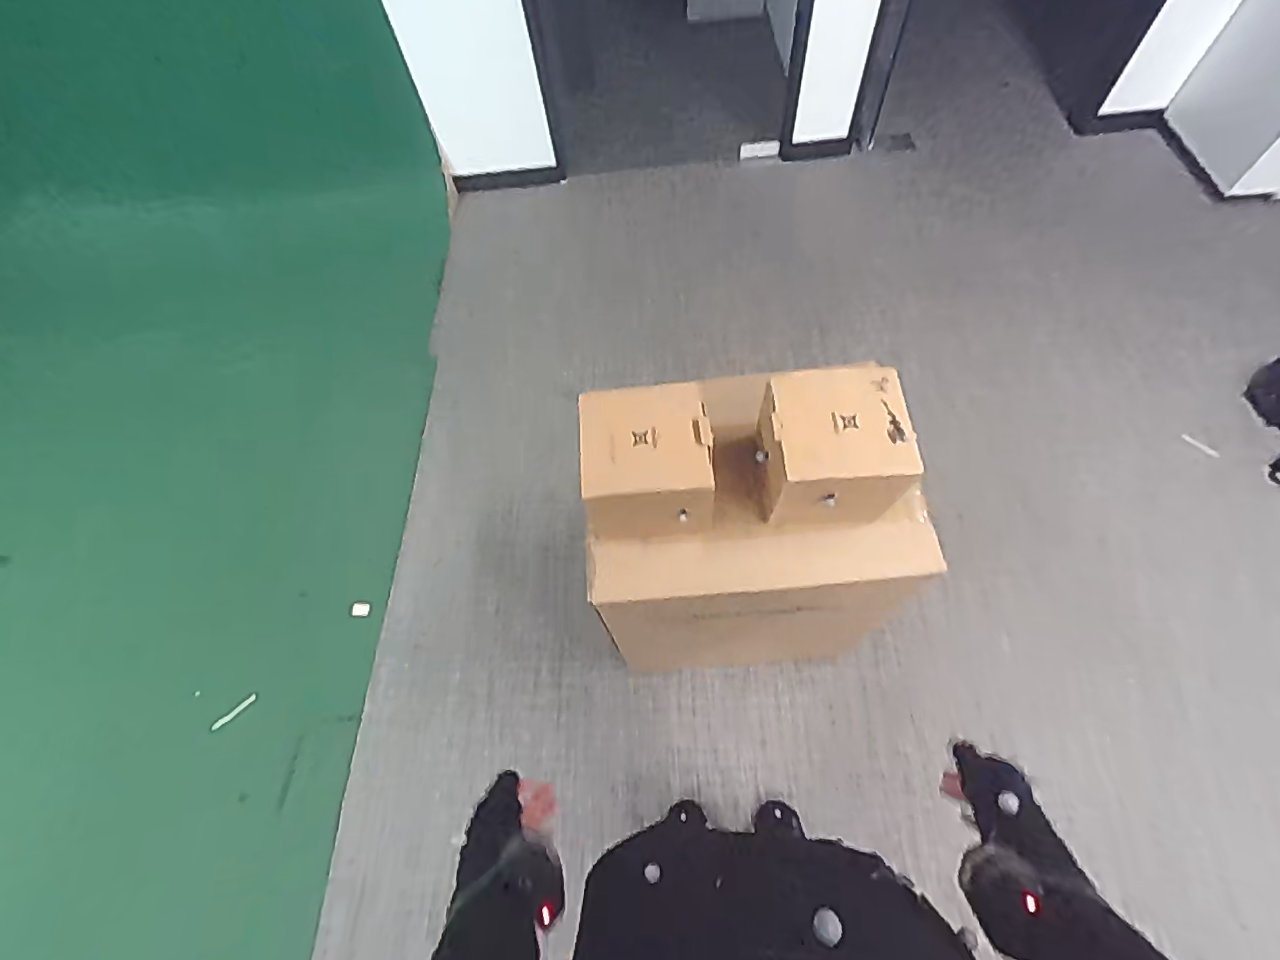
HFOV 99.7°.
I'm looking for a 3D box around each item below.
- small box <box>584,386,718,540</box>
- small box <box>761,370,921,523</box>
[{"bbox_3d":[0.016,-0.019,0.810,0.179,0.176,0.168,-6,64,3],"label":"small box"},{"bbox_3d":[0.278,-0.041,0.797,0.179,0.176,0.168,-4,65,3],"label":"small box"}]
